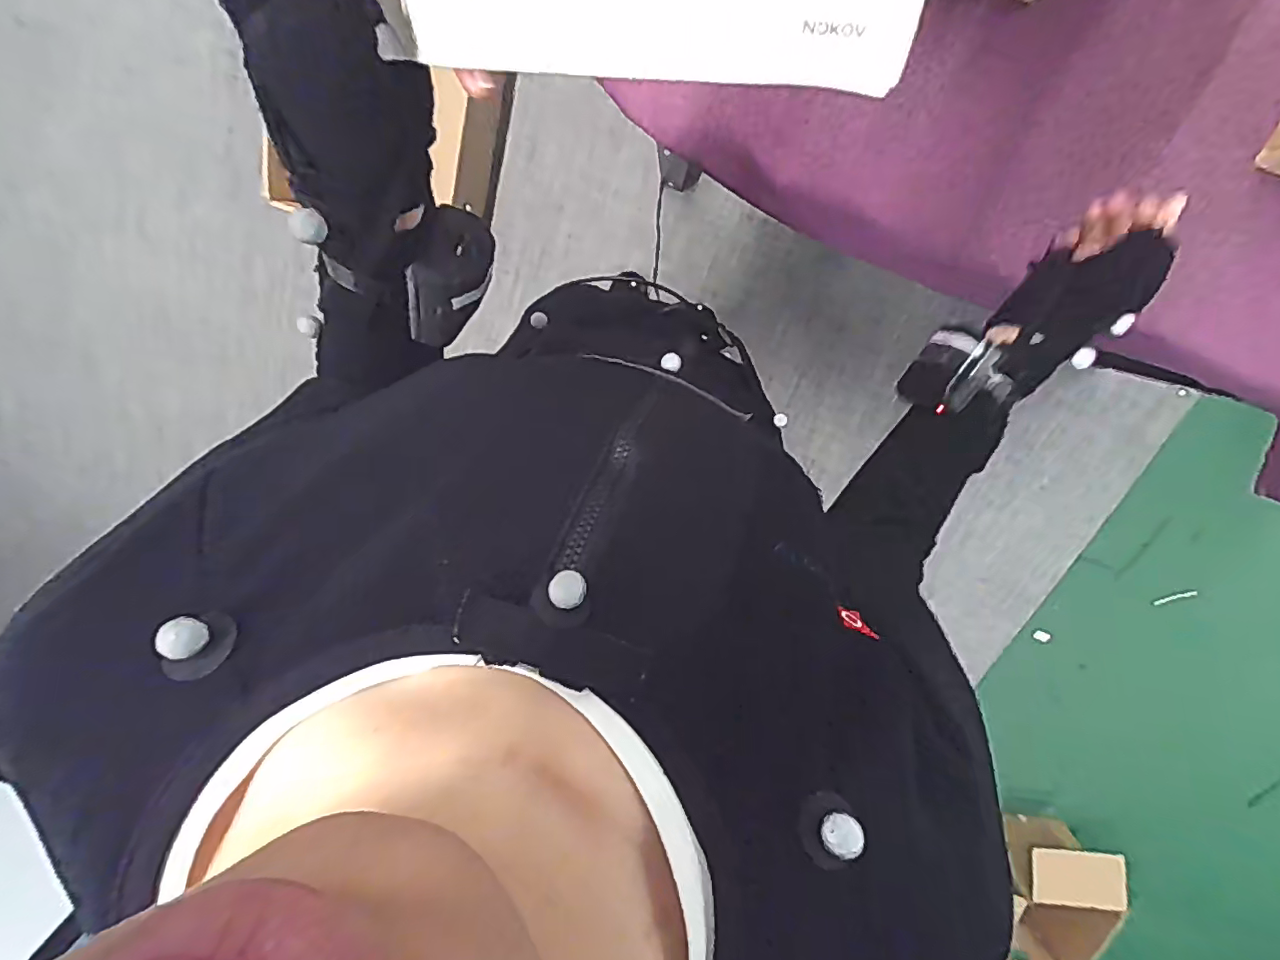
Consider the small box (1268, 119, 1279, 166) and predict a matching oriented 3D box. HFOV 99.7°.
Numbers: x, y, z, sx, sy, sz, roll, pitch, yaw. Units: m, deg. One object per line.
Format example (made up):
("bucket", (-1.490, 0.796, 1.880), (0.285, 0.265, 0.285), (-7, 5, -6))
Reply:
("small box", (0.746, -0.358, 0.477), (0.168, 0.176, 0.179), (17, 111, -4))
